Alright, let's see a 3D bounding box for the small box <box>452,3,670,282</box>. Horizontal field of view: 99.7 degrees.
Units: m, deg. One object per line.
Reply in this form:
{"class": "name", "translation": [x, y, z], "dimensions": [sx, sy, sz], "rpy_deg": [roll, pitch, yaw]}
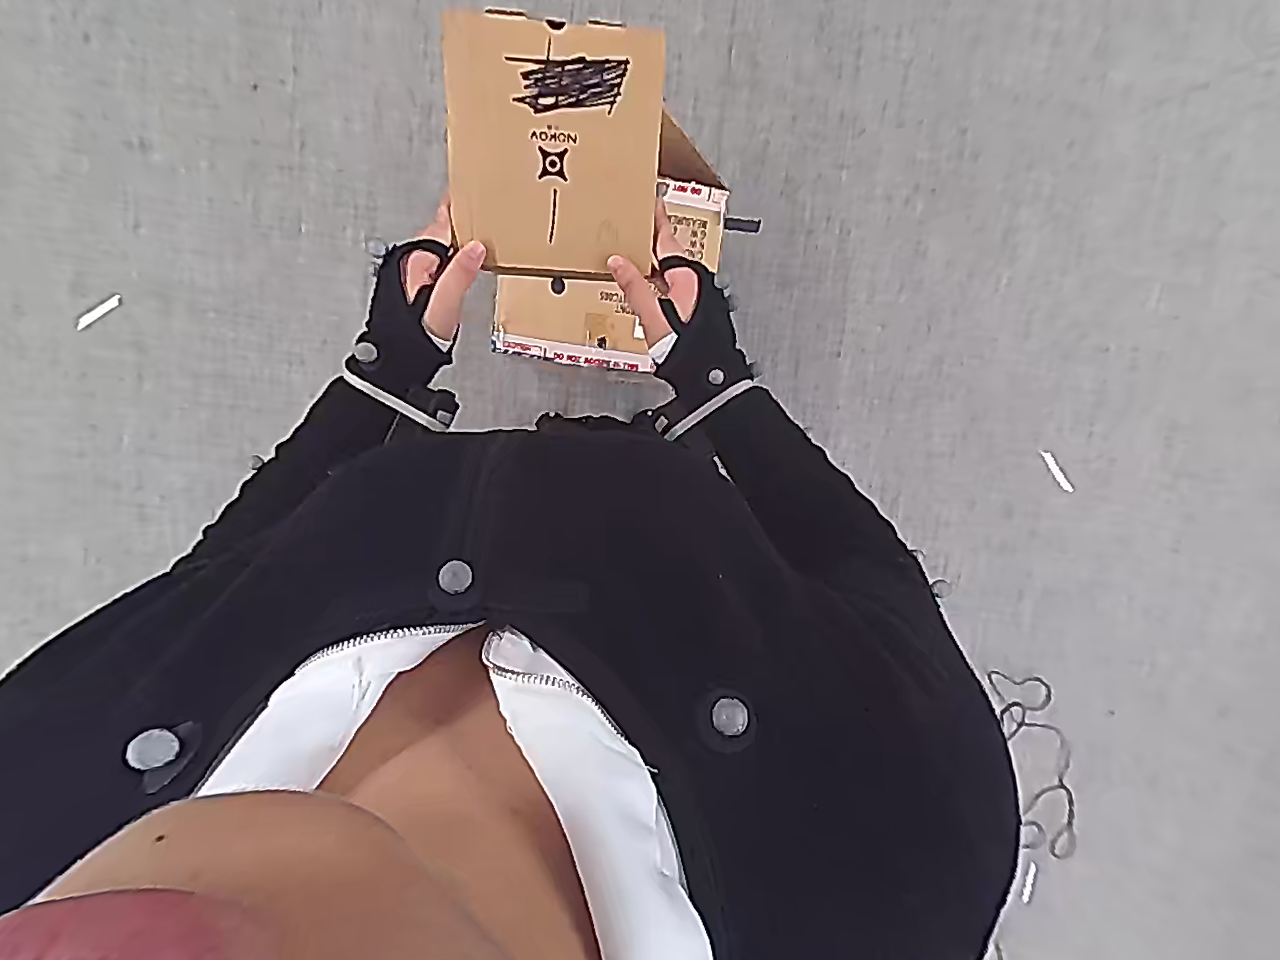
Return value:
{"class": "small box", "translation": [-0.069, -0.286, 0.502], "dimensions": [0.168, 0.176, 0.179], "rpy_deg": [3, 108, -4]}
